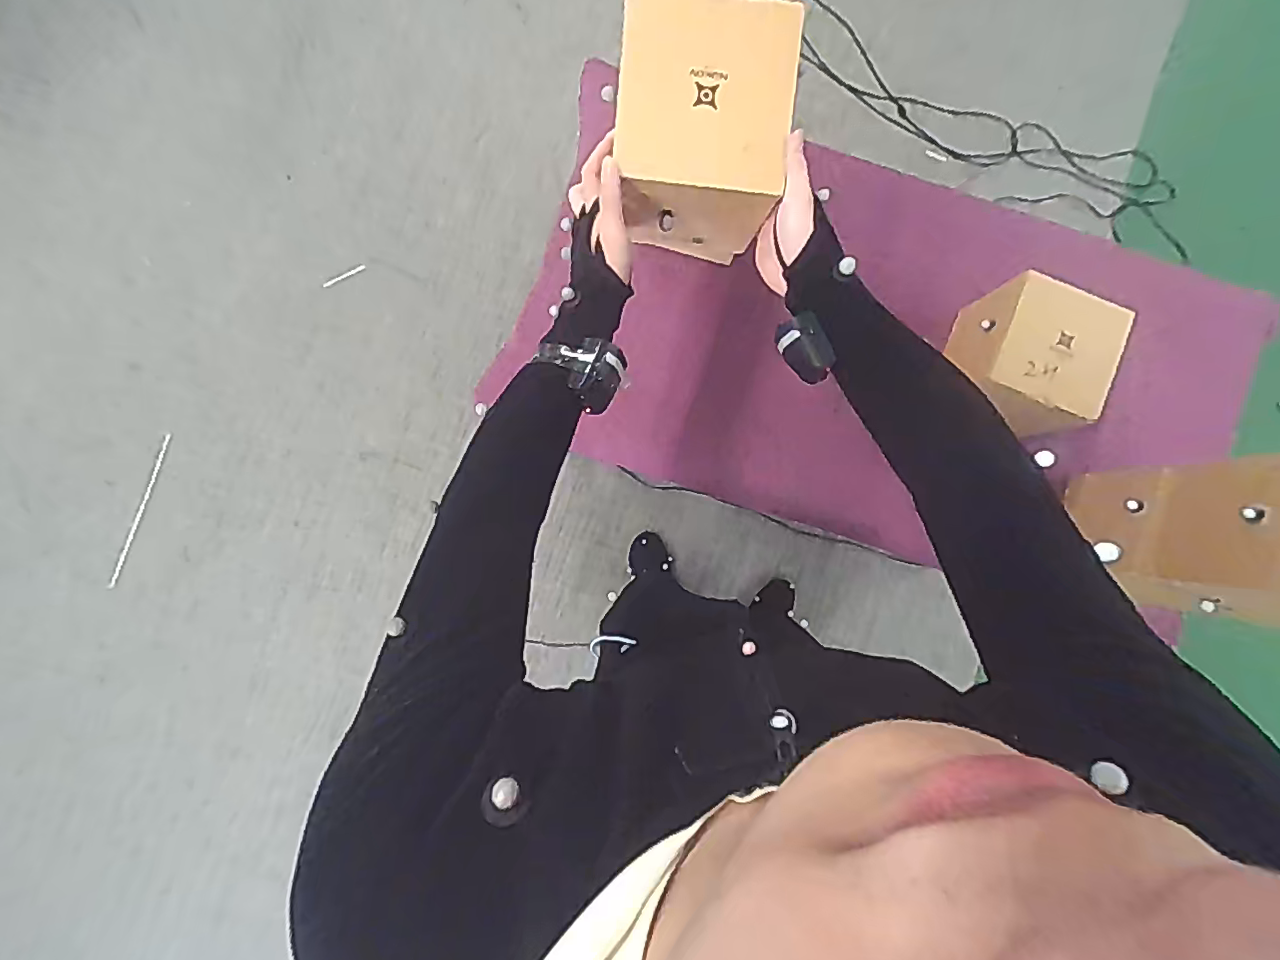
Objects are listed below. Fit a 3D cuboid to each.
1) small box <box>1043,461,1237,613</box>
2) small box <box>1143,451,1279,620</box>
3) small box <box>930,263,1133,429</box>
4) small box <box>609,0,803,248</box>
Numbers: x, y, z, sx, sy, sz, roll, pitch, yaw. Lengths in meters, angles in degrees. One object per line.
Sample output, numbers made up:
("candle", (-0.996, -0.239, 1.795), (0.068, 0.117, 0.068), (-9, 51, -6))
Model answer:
("small box", (0.784, 0.082, 0.832), (0.179, 0.176, 0.168), (22, 86, 0))
("small box", (0.790, 0.069, 0.670), (0.168, 0.176, 0.179), (22, 86, 2))
("small box", (0.593, -0.196, 0.843), (0.168, 0.176, 0.179), (23, 87, 0))
("small box", (0.058, -0.366, 0.575), (0.168, 0.176, 0.179), (4, 94, -3))
